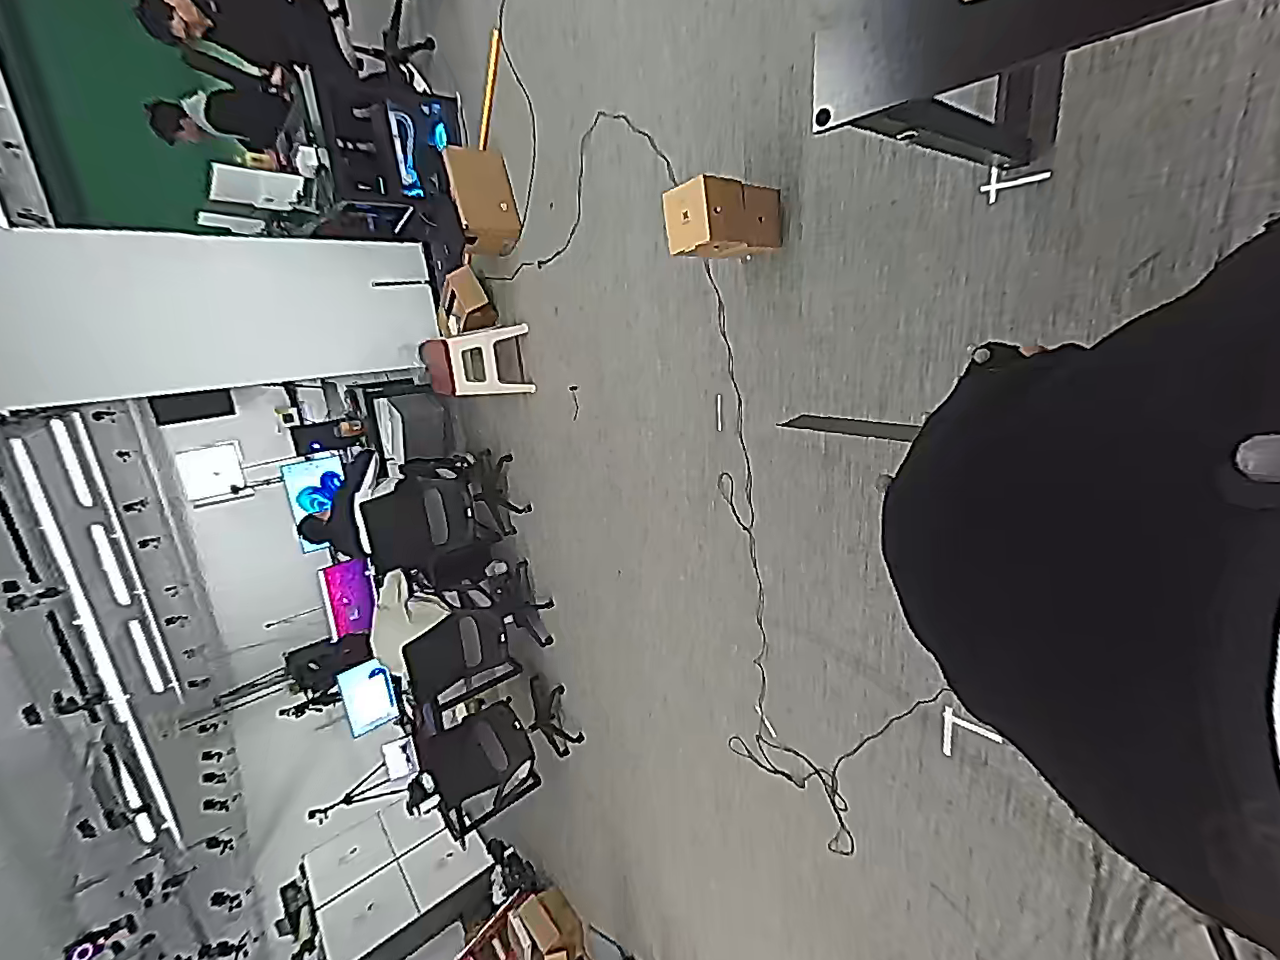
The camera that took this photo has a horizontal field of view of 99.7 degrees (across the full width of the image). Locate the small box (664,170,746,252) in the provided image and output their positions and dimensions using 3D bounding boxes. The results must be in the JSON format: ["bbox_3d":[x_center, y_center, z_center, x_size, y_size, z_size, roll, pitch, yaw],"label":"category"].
[{"bbox_3d":[0.195,-0.780,1.583,0.168,0.176,0.179,5,106,50],"label":"small box"}]

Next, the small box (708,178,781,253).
[{"bbox_3d":[0.321,-0.813,1.681,0.168,0.176,0.179,10,112,50],"label":"small box"}]
